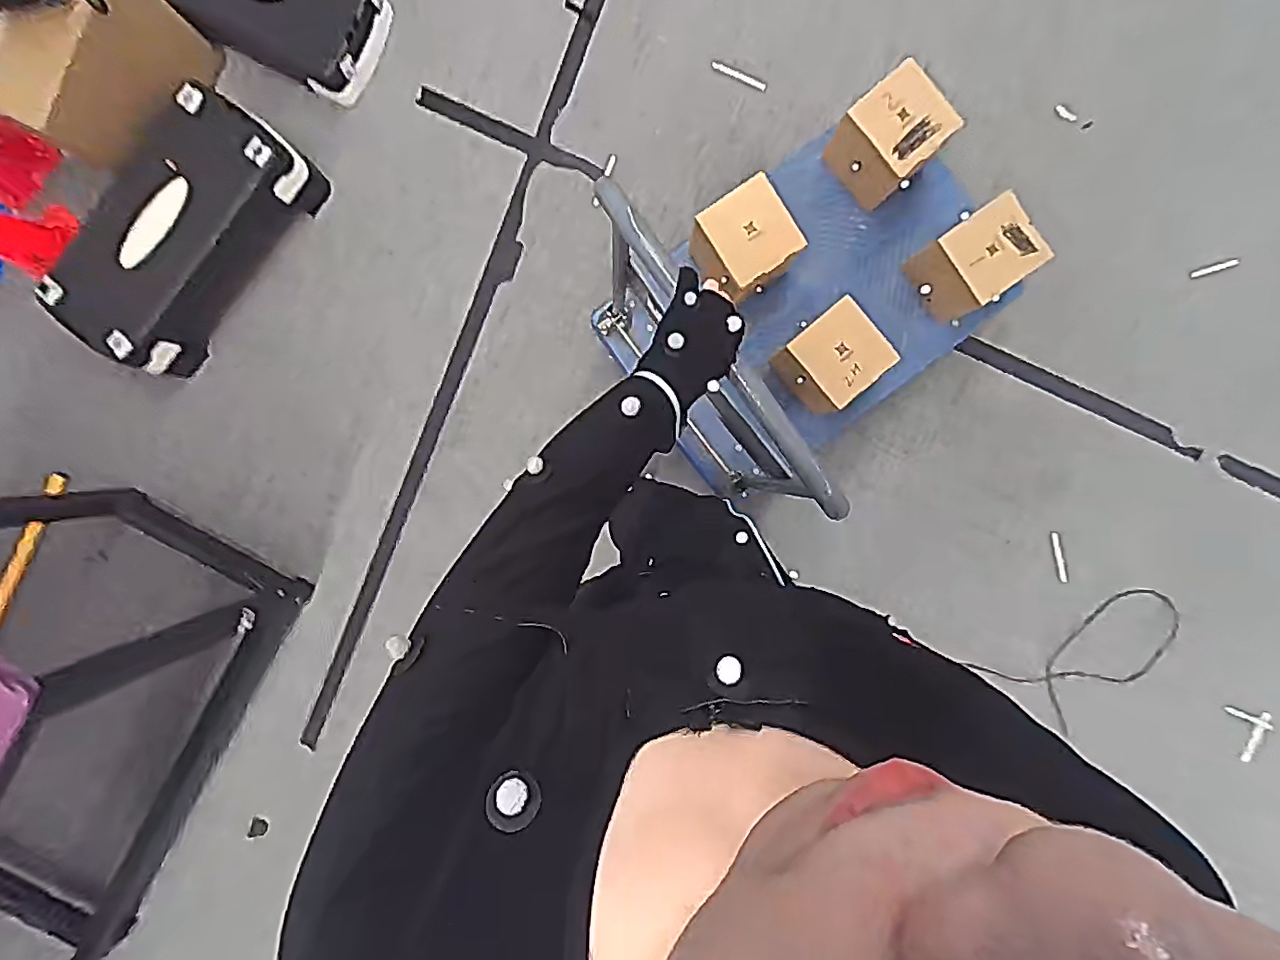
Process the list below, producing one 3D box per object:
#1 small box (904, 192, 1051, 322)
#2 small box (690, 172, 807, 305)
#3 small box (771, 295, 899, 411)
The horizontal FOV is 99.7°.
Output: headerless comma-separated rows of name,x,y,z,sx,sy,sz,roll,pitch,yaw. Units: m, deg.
small box,0.719,-0.473,1.174,0.179,0.176,0.168,-35,92,3
small box,0.225,-0.512,1.174,0.168,0.176,0.179,-33,95,1
small box,0.415,-0.266,1.186,0.168,0.176,0.179,-40,92,2
